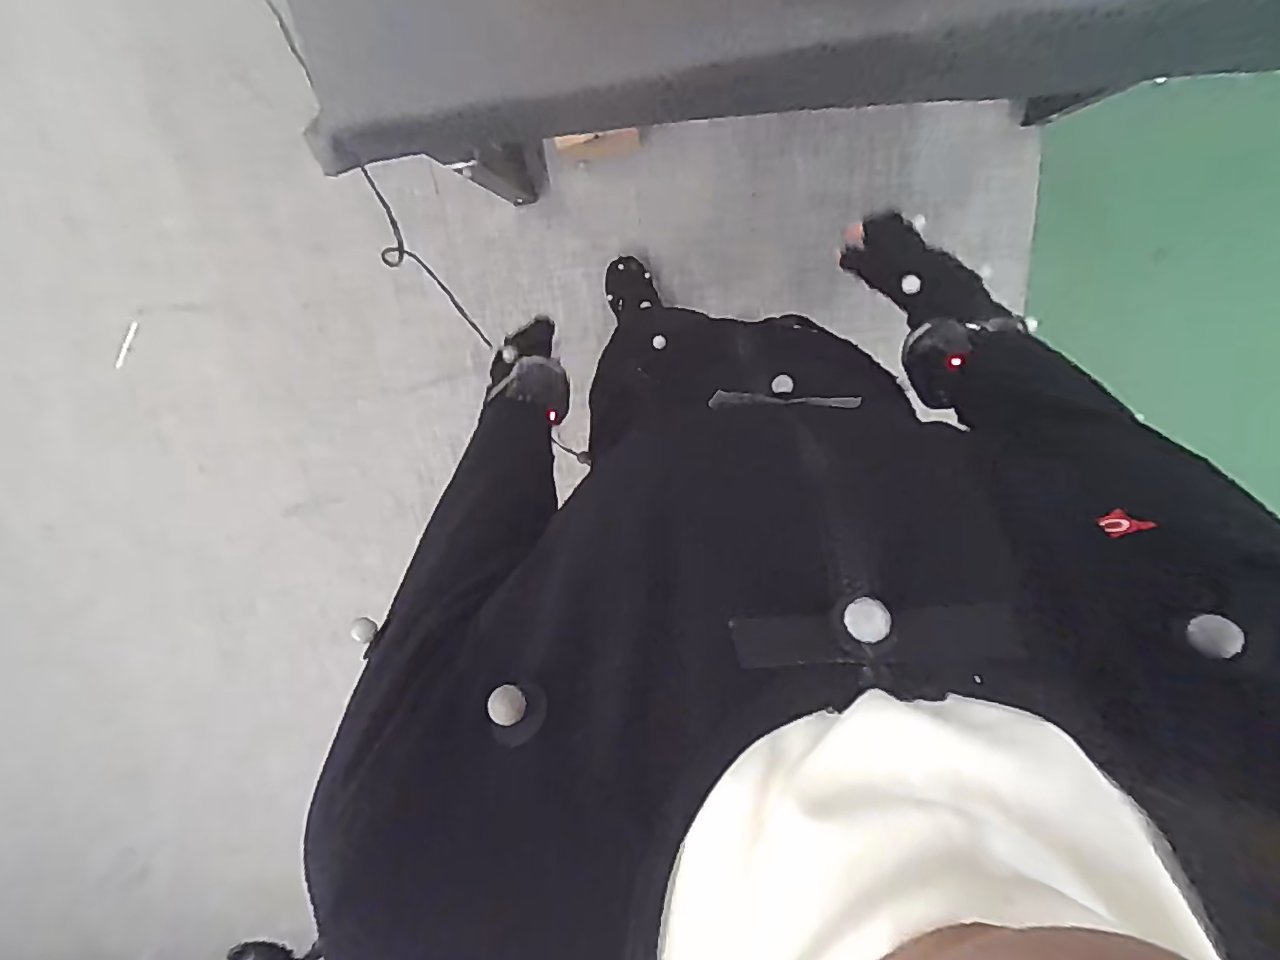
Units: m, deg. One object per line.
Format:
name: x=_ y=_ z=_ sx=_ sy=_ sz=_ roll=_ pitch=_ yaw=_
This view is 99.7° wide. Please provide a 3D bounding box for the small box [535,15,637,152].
small box: x=-0.101 y=-0.792 z=1.104 sx=0.168 sy=0.176 sz=0.179 roll=-10 pitch=109 yaw=4
